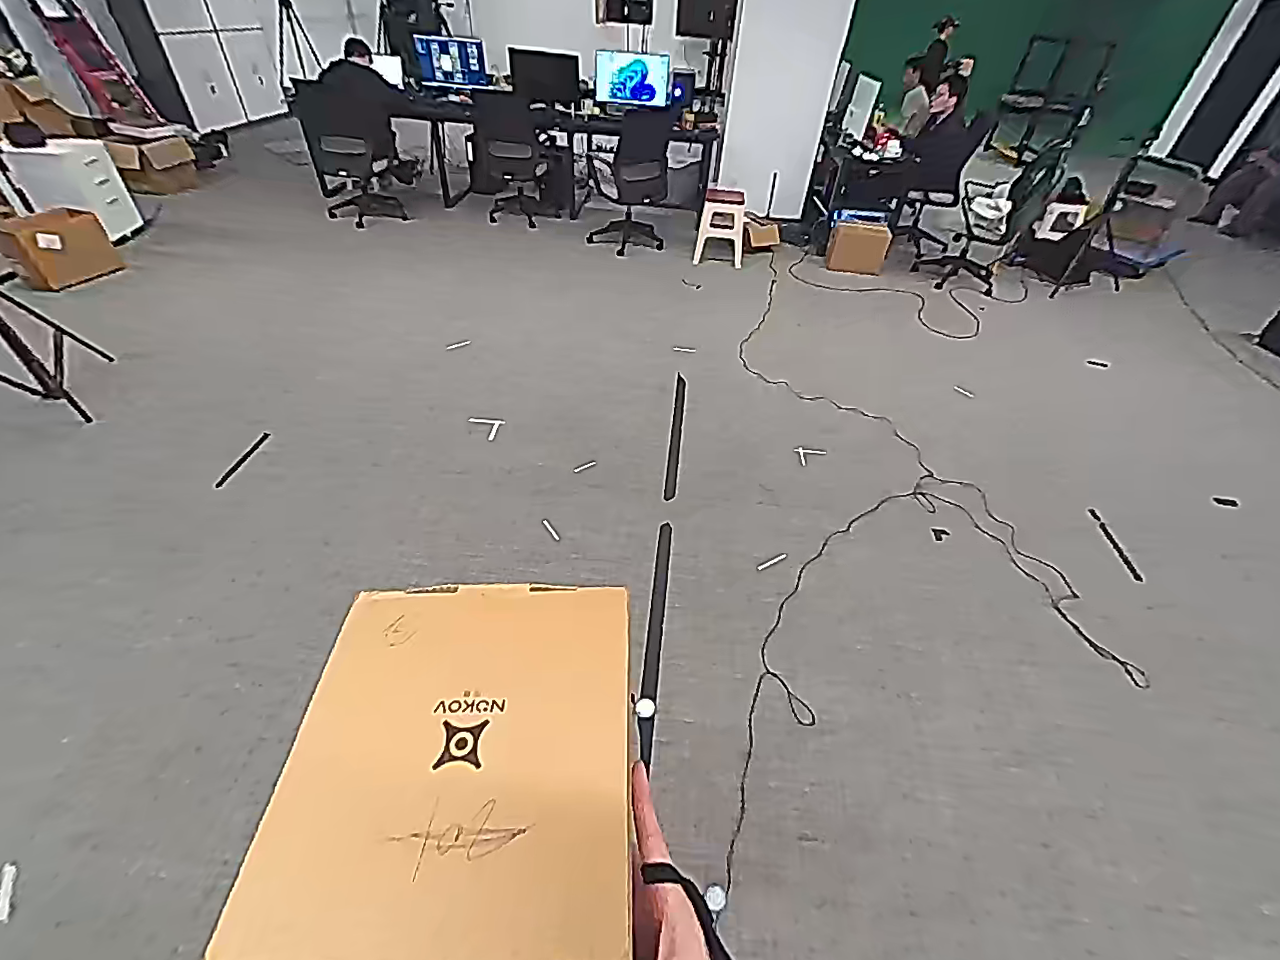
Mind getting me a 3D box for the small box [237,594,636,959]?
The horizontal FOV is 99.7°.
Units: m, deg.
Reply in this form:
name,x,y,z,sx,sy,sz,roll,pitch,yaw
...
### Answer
name,x,y,z,sx,sy,sz,roll,pitch,yaw
small box,-0.087,0.190,0.336,0.168,0.176,0.179,-1,45,-1
